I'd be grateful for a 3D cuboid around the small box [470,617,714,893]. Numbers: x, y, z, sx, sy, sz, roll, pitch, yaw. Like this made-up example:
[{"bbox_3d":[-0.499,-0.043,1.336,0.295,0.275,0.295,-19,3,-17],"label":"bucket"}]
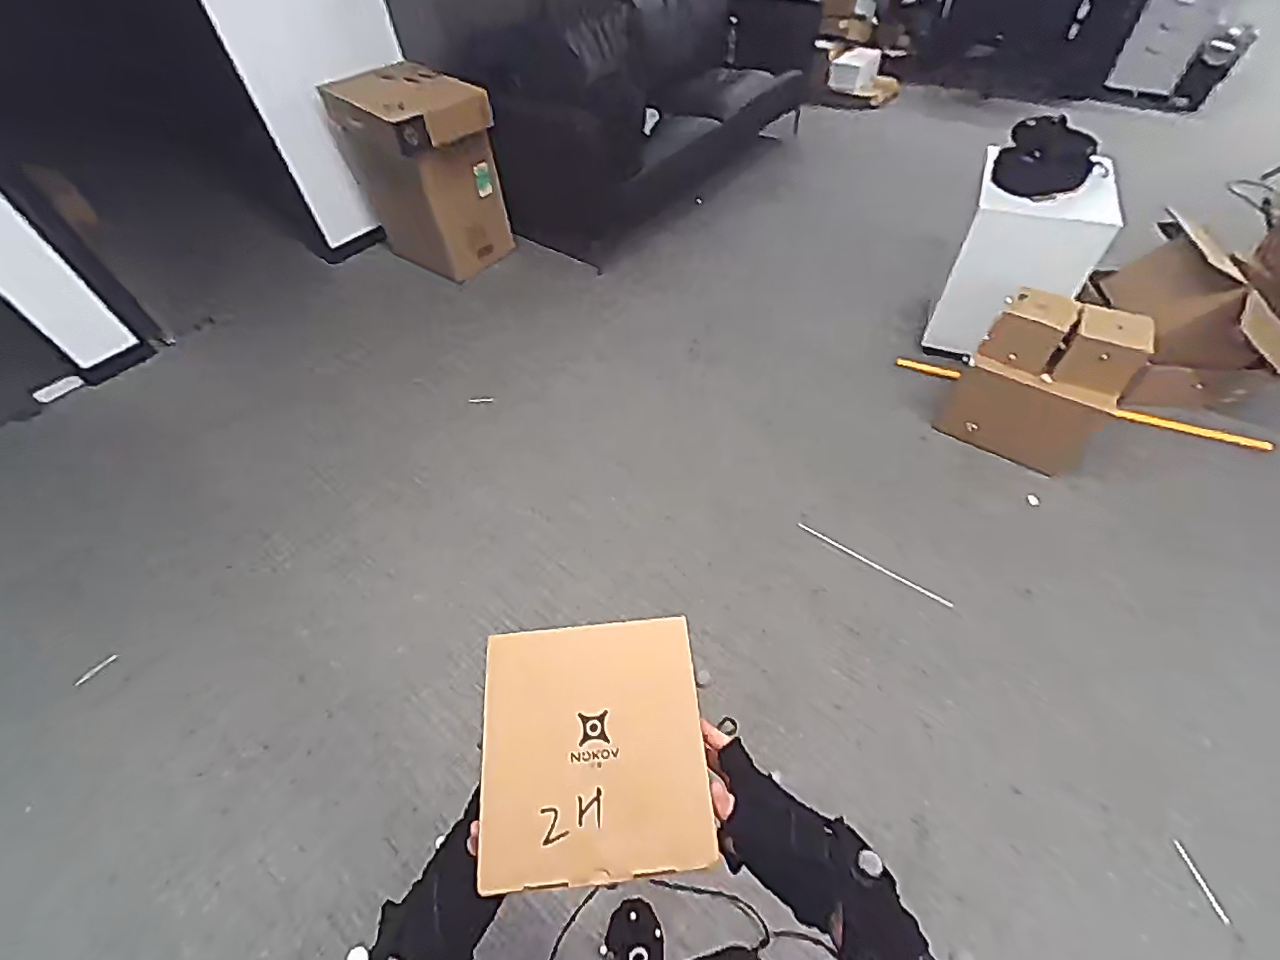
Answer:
[{"bbox_3d":[-0.037,0.233,0.468,0.168,0.176,0.179,-4,60,-2],"label":"small box"}]
